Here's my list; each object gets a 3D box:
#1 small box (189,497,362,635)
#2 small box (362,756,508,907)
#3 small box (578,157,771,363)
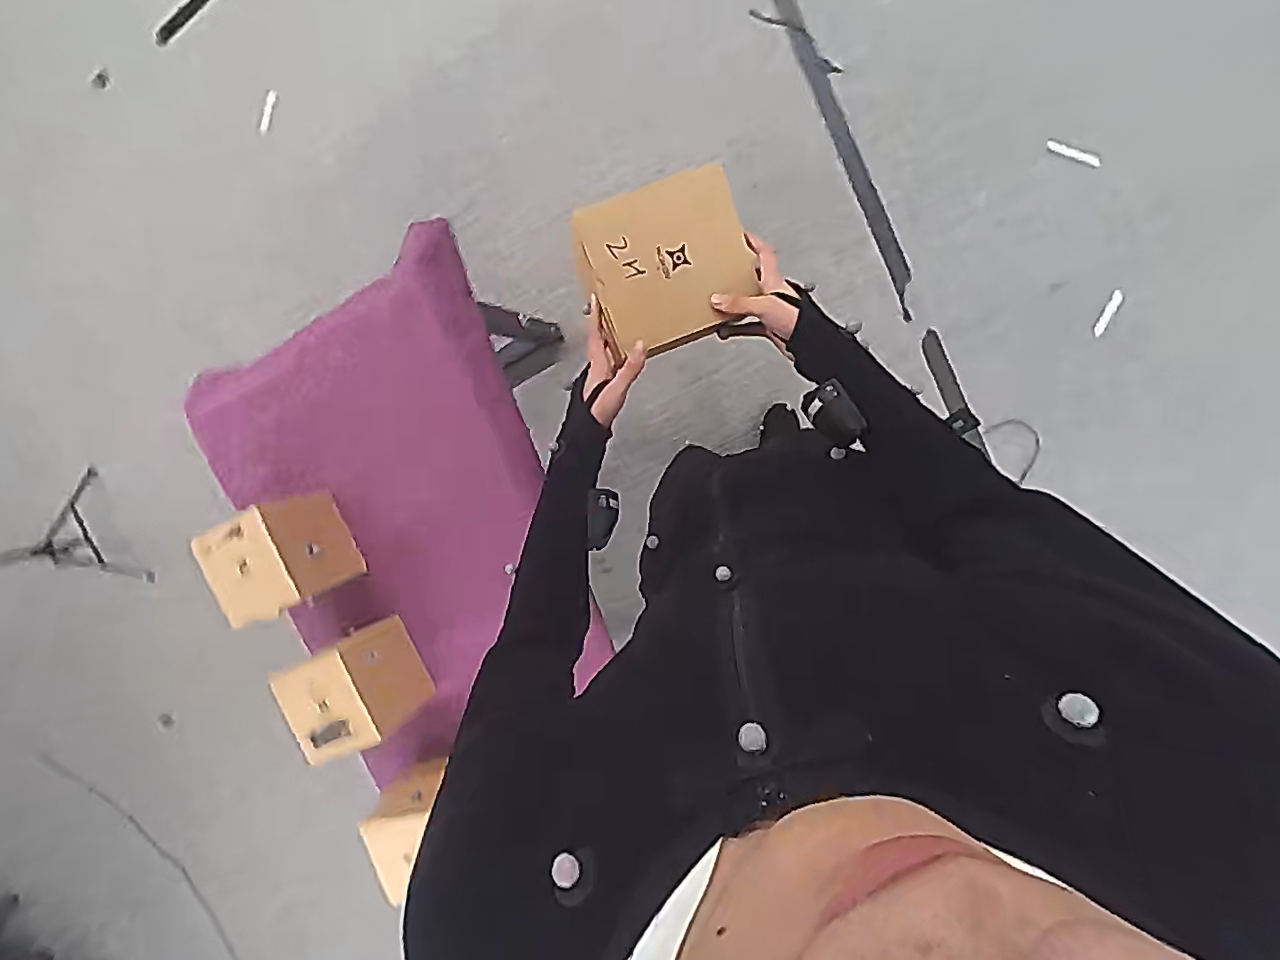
[{"bbox_3d":[-0.660,0.151,1.002,0.168,0.176,0.179,-25,94,13],"label":"small box"},{"bbox_3d":[-0.372,0.653,1.022,0.179,0.176,0.168,-19,94,15],"label":"small box"},{"bbox_3d":[0.031,-0.252,0.661,0.179,0.176,0.168,-20,99,-3],"label":"small box"}]
